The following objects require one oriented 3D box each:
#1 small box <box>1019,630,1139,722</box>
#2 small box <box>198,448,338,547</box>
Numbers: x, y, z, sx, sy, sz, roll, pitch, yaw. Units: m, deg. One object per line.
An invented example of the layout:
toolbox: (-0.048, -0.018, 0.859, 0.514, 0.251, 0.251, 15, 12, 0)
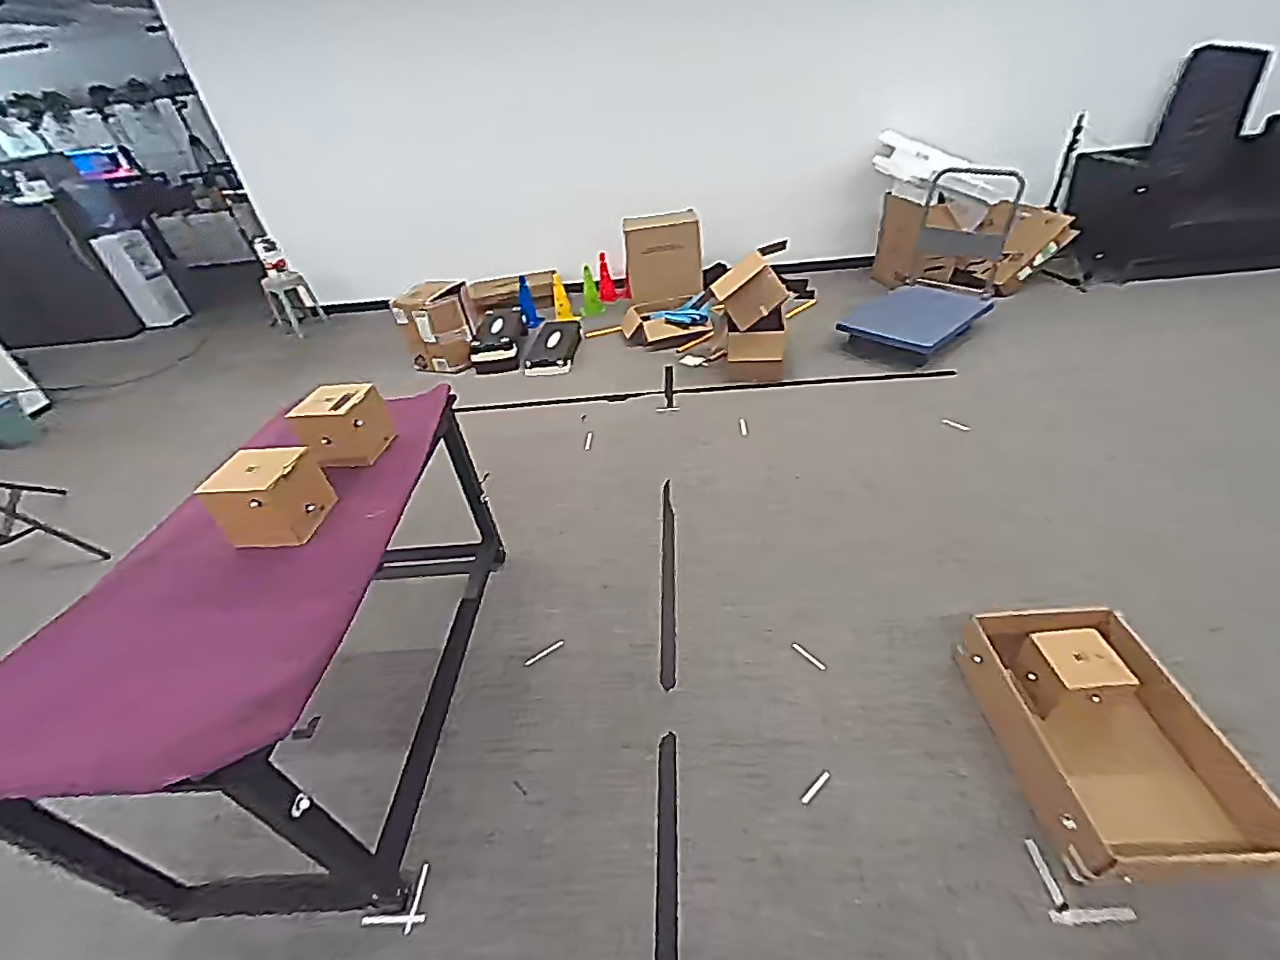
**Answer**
small box: (1.153, 0.526, 1.443, 0.179, 0.176, 0.168, -5, 38, 2)
small box: (-0.856, 0.044, 1.265, 0.179, 0.176, 0.168, -3, 38, 6)
